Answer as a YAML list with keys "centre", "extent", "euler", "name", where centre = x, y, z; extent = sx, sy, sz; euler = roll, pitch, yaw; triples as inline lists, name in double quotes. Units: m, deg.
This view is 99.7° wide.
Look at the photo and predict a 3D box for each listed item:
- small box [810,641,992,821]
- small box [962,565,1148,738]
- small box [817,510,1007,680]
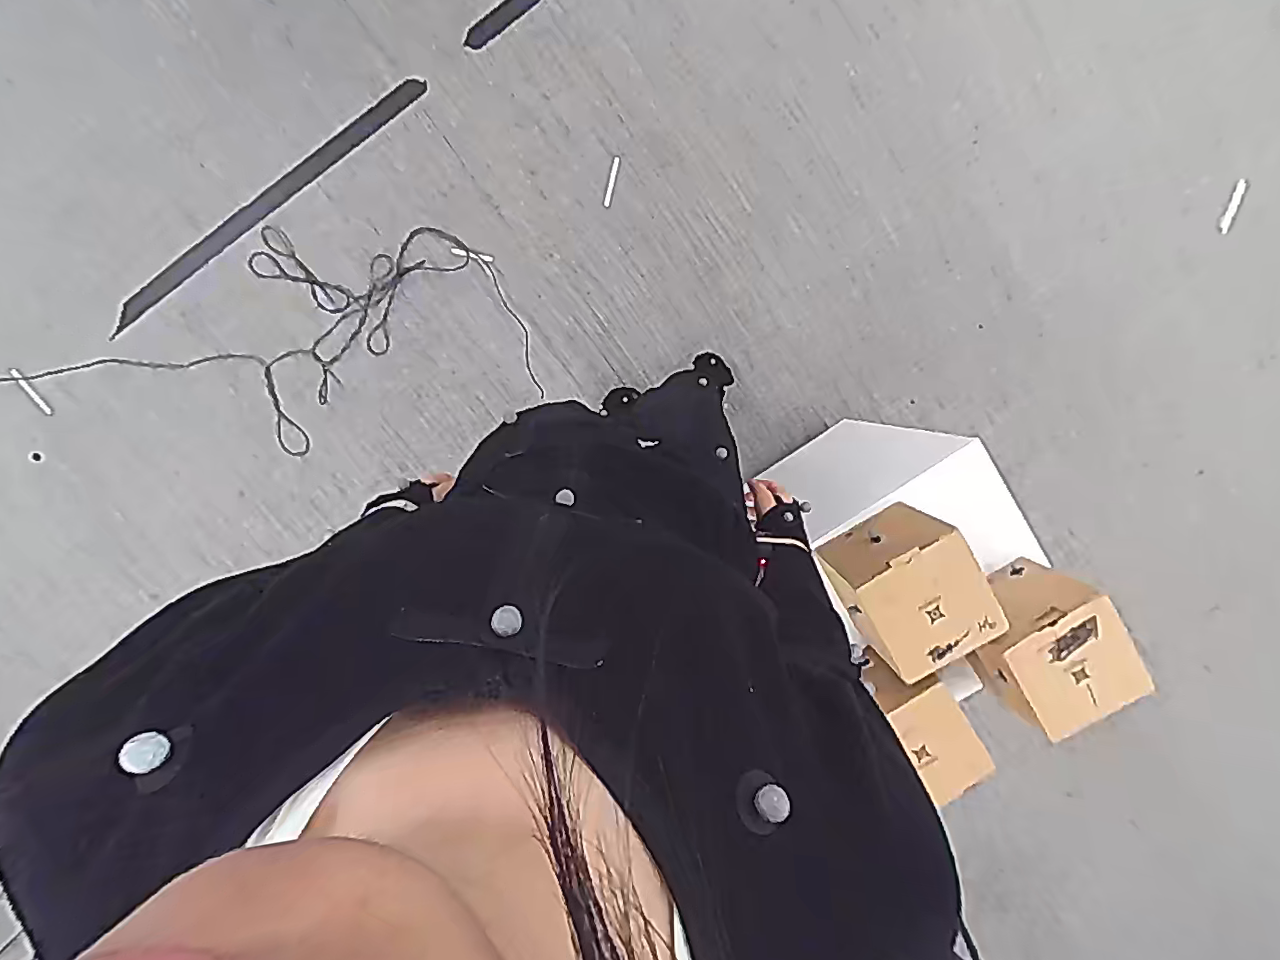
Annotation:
- centre: [0.407, 0.386, 0.871]
  extent: [0.168, 0.176, 0.179]
  euler: [-34, 97, 3]
  name: "small box"
- centre: [0.617, 0.253, 0.849]
  extent: [0.168, 0.176, 0.179]
  euler: [-32, 99, 5]
  name: "small box"
- centre: [0.401, 0.160, 0.830]
  extent: [0.168, 0.176, 0.179]
  euler: [-31, 99, 4]
  name: "small box"
